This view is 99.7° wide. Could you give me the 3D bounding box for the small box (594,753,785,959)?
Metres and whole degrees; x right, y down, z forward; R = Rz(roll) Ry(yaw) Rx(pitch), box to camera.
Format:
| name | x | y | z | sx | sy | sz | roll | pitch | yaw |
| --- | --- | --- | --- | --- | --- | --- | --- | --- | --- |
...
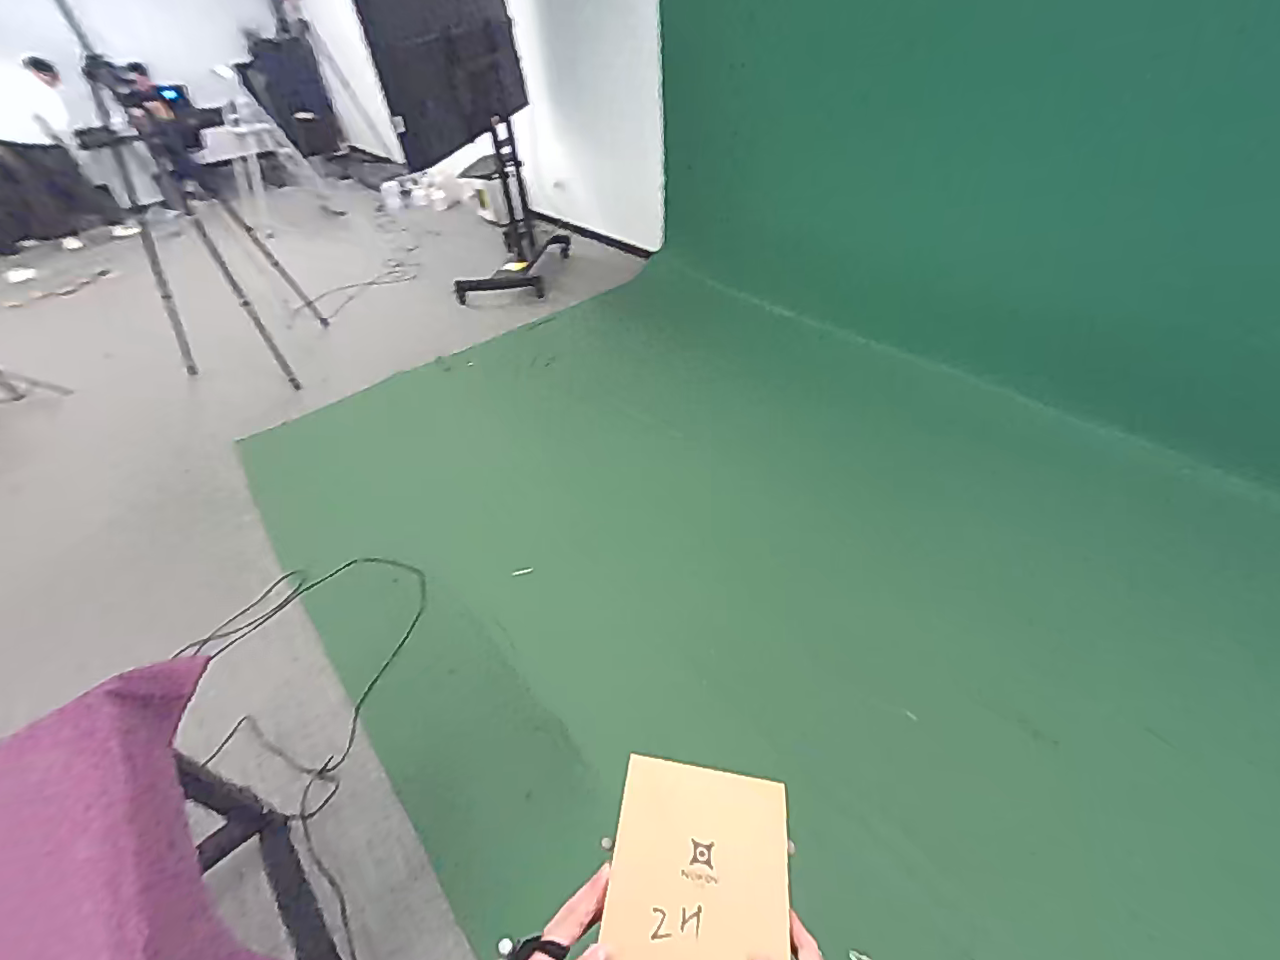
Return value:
| name | x | y | z | sx | sy | sz | roll | pitch | yaw |
| --- | --- | --- | --- | --- | --- | --- | --- | --- | --- |
| small box | 0.048 | 0.419 | 0.562 | 0.168 | 0.176 | 0.179 | 8 | 43 | 5 |
